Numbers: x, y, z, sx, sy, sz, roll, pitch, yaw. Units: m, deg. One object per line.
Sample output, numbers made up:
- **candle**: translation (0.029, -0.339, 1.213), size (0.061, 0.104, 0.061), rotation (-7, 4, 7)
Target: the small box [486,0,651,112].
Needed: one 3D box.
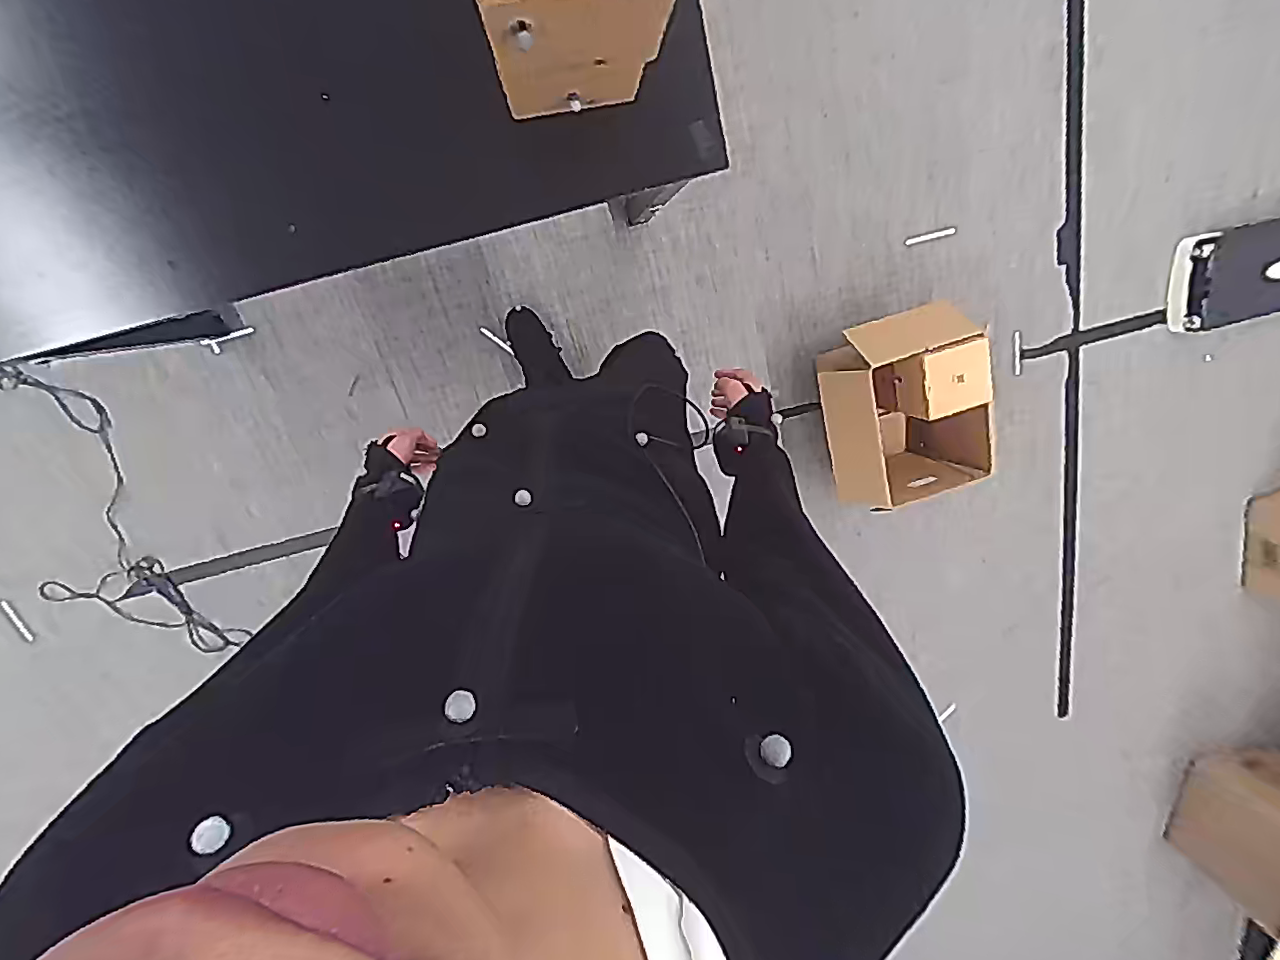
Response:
- **small box**: translation (-0.090, -0.553, 0.611), size (0.168, 0.176, 0.179), rotation (-11, 110, -3)
